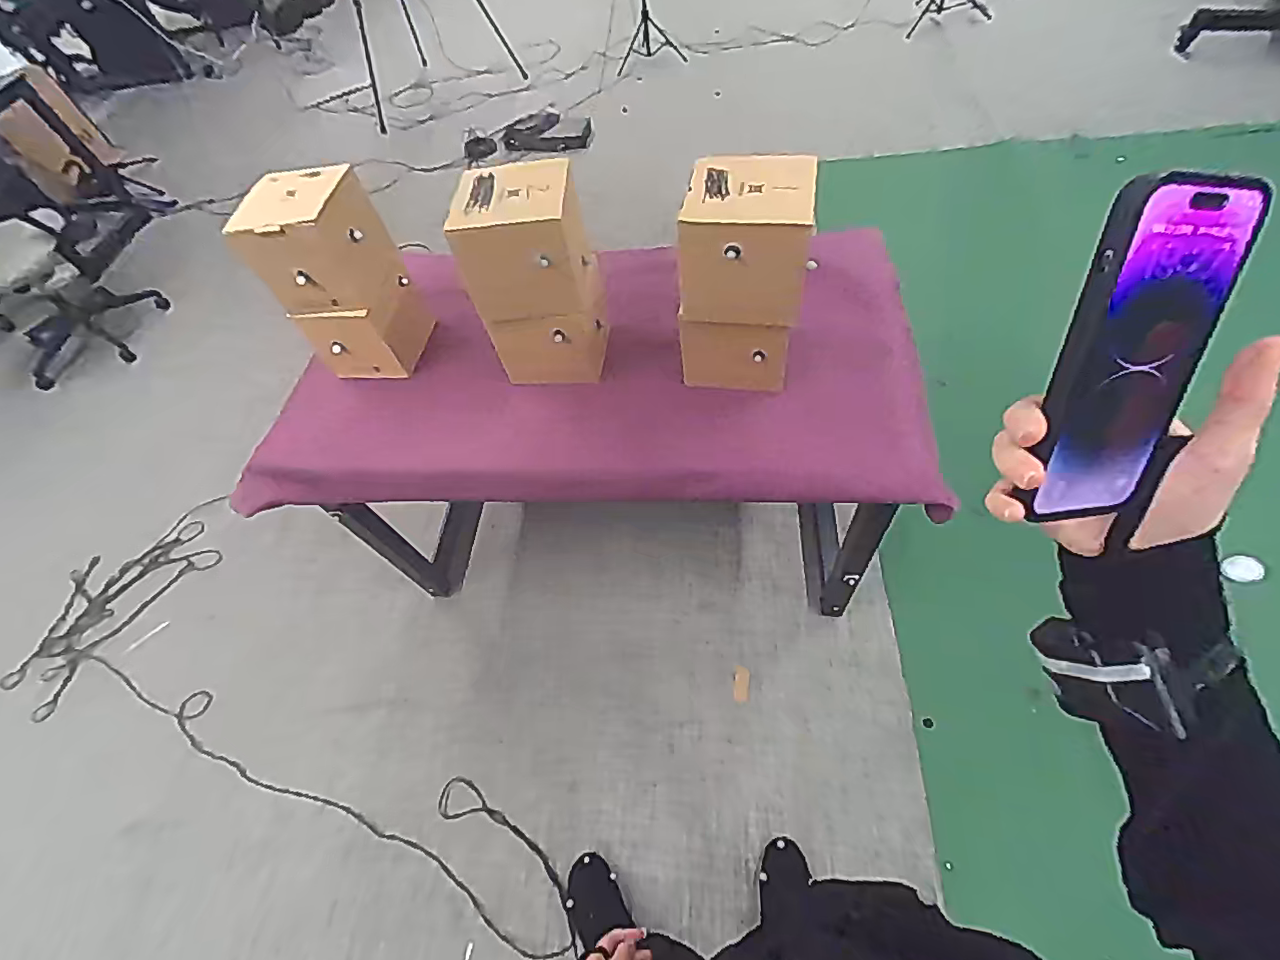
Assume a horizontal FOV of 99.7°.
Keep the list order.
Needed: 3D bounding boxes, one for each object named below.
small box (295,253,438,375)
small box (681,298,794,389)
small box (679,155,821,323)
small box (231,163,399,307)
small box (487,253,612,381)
[{"bbox_3d":[-0.538,-0.329,1.093,0.168,0.176,0.179,2,58,10],"label":"small box"},{"bbox_3d":[0.178,-0.277,0.946,0.179,0.176,0.168,7,58,14],"label":"small box"},{"bbox_3d":[0.163,-0.352,0.801,0.179,0.176,0.168,7,58,13],"label":"small box"},{"bbox_3d":[-0.558,-0.425,0.960,0.168,0.176,0.179,-2,58,7],"label":"small box"},{"bbox_3d":[-0.156,-0.300,1.012,0.179,0.176,0.168,2,57,10],"label":"small box"}]
